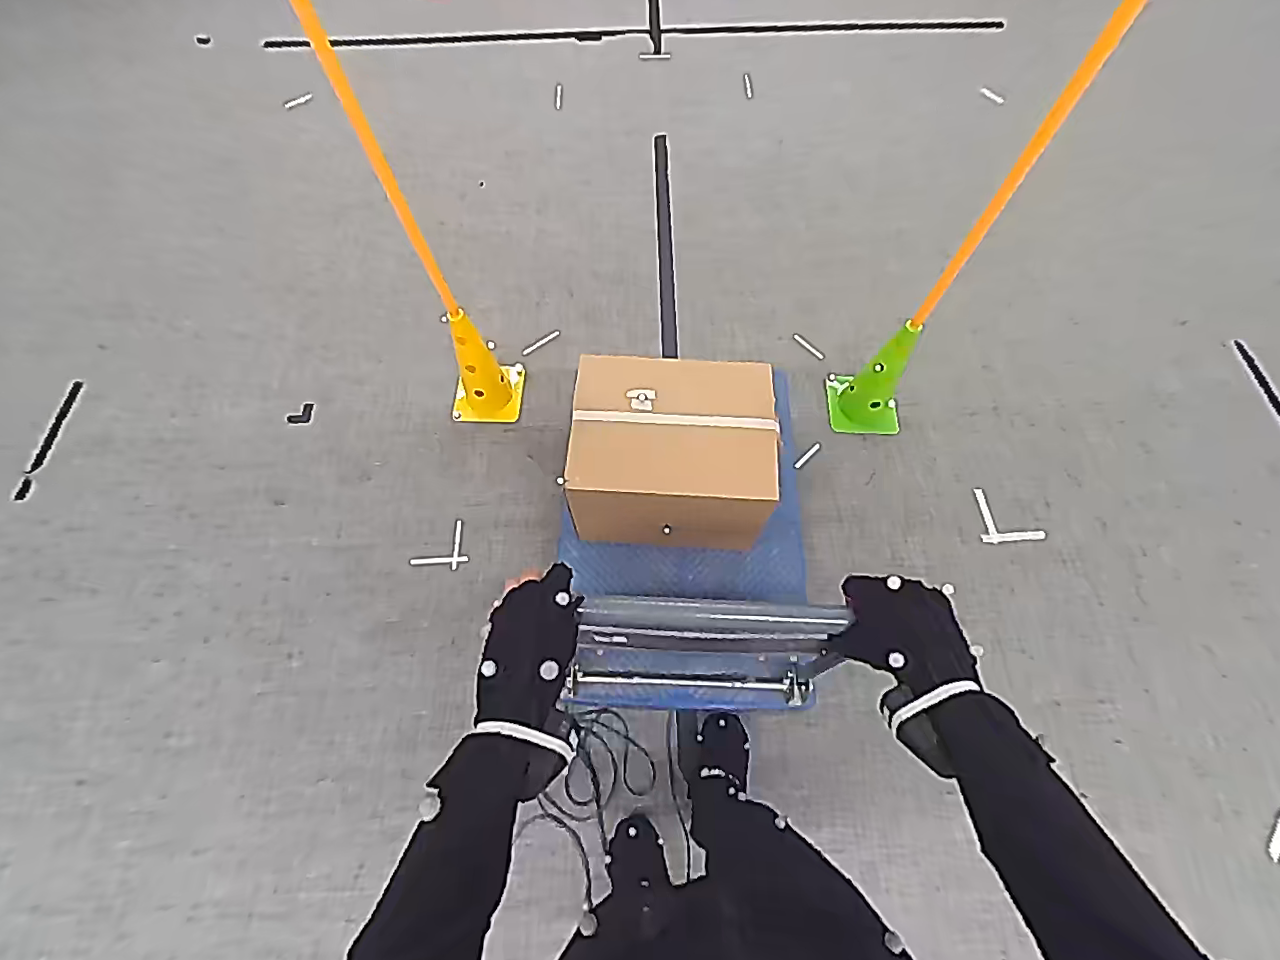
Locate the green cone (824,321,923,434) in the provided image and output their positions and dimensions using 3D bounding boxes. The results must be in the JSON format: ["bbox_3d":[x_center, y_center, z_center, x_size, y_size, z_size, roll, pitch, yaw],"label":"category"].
[{"bbox_3d":[0.670,-0.300,1.491,0.202,0.368,0.200,2,66,0],"label":"green cone"}]

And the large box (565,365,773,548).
[{"bbox_3d":[0.064,-0.039,1.220,0.408,0.320,0.320,3,65,2],"label":"large box"}]
